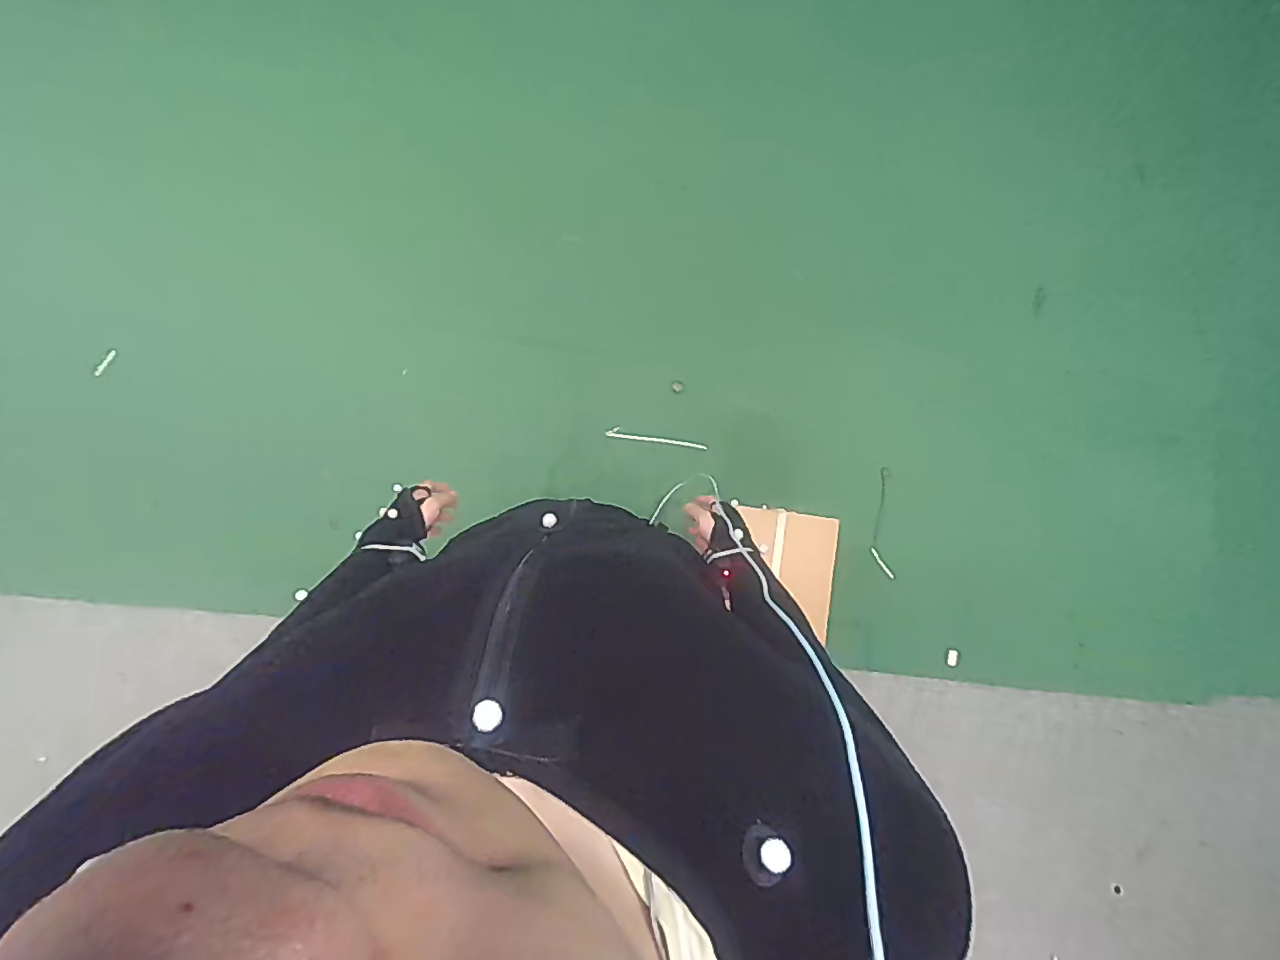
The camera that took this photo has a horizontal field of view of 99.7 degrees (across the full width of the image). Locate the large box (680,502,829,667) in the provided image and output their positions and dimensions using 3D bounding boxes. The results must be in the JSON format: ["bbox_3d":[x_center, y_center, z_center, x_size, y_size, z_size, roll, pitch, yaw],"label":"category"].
[{"bbox_3d":[0.309,0.276,1.545,0.320,0.320,0.408,8,87,-5],"label":"large box"}]
